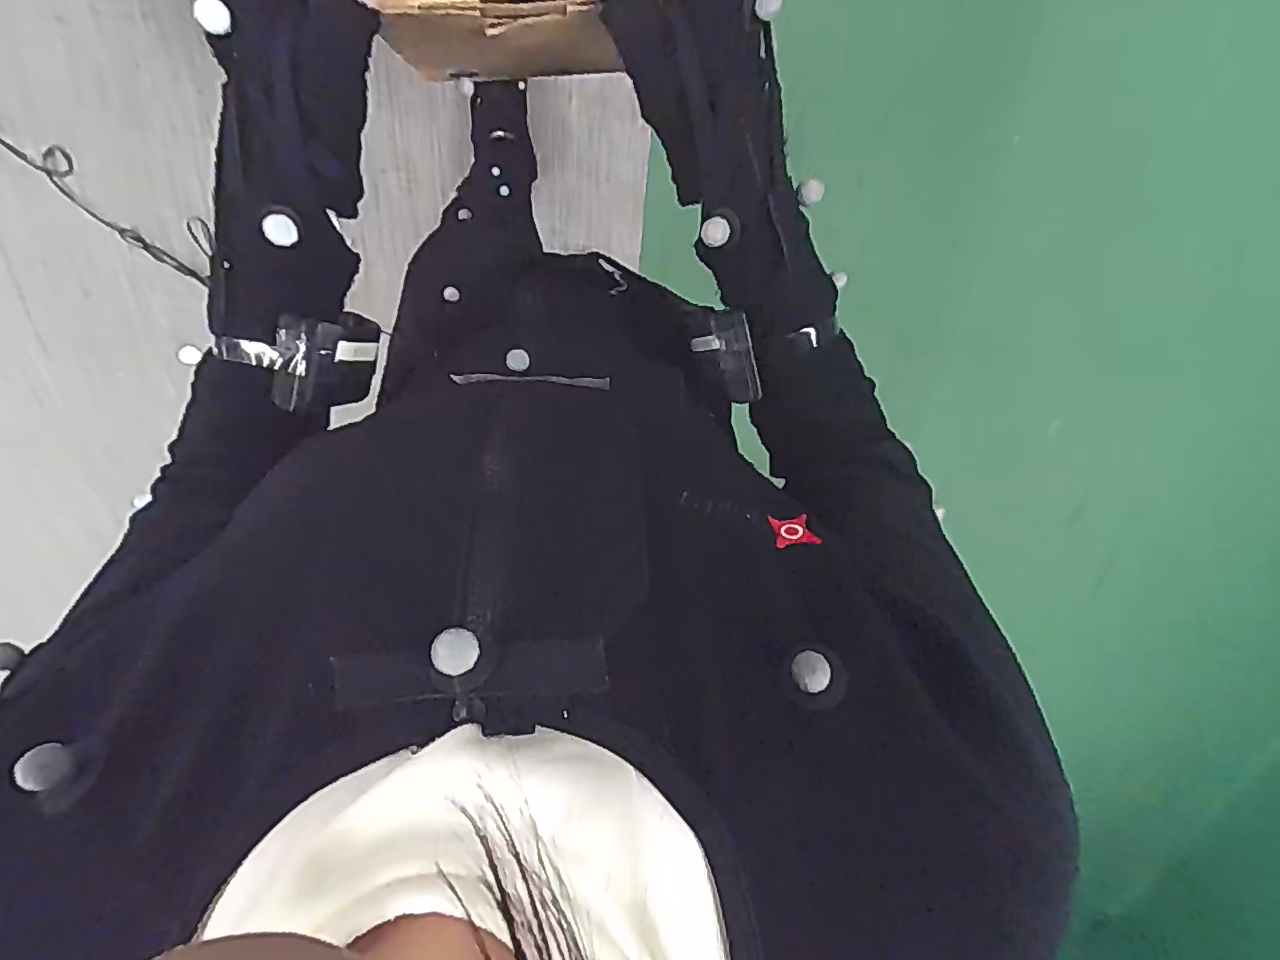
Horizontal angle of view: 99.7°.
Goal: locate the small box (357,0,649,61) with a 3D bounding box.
[{"bbox_3d":[-0.079,-0.359,0.304,0.168,0.176,0.179,-7,116,-6],"label":"small box"}]
